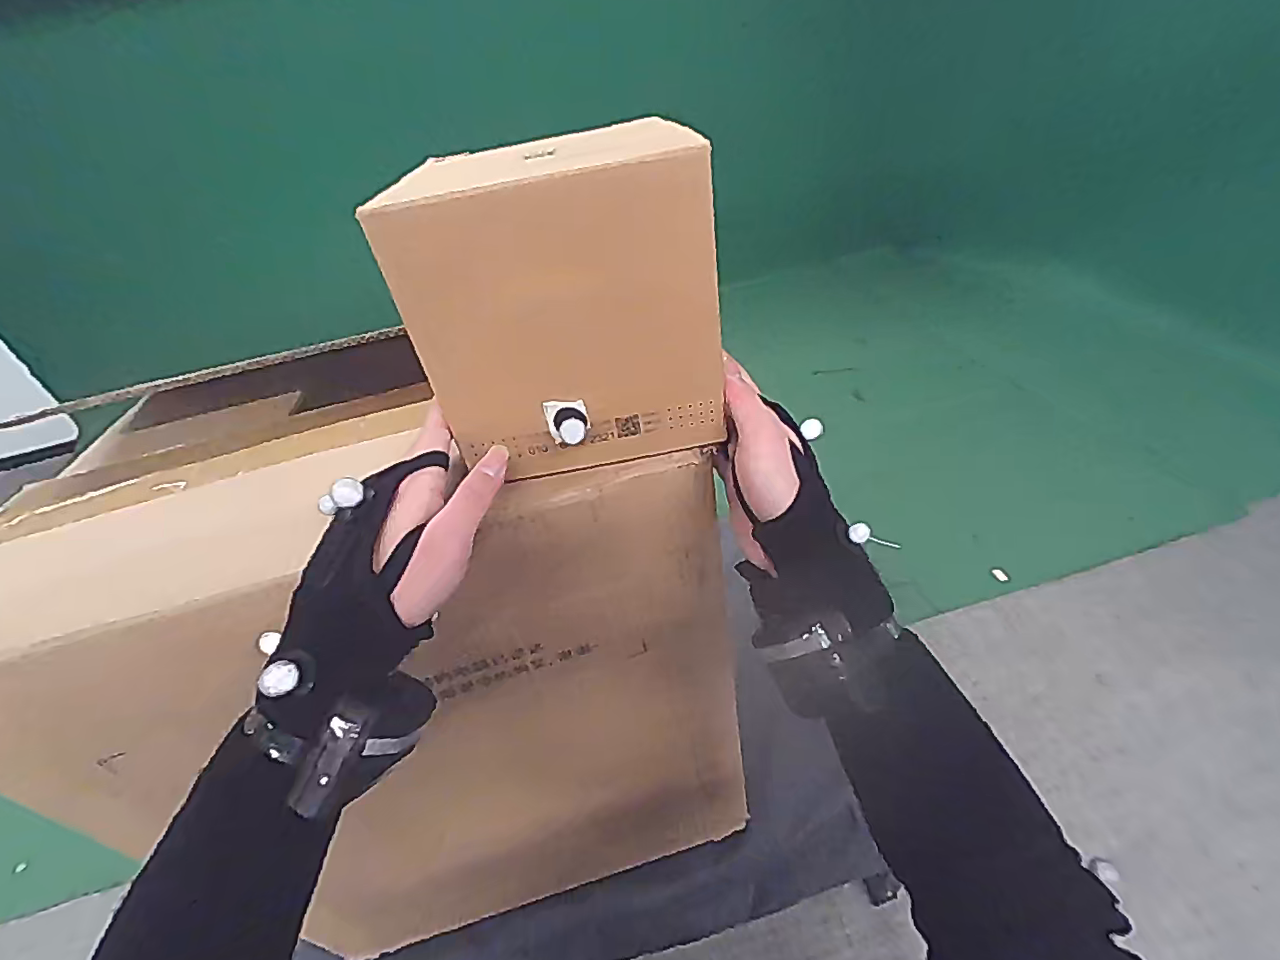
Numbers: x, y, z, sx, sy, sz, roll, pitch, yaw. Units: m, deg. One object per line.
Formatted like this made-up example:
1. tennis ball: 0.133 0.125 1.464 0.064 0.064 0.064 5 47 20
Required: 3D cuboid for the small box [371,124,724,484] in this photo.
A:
1. small box: -0.046 -0.123 0.366 0.168 0.176 0.179 -13 38 -2
